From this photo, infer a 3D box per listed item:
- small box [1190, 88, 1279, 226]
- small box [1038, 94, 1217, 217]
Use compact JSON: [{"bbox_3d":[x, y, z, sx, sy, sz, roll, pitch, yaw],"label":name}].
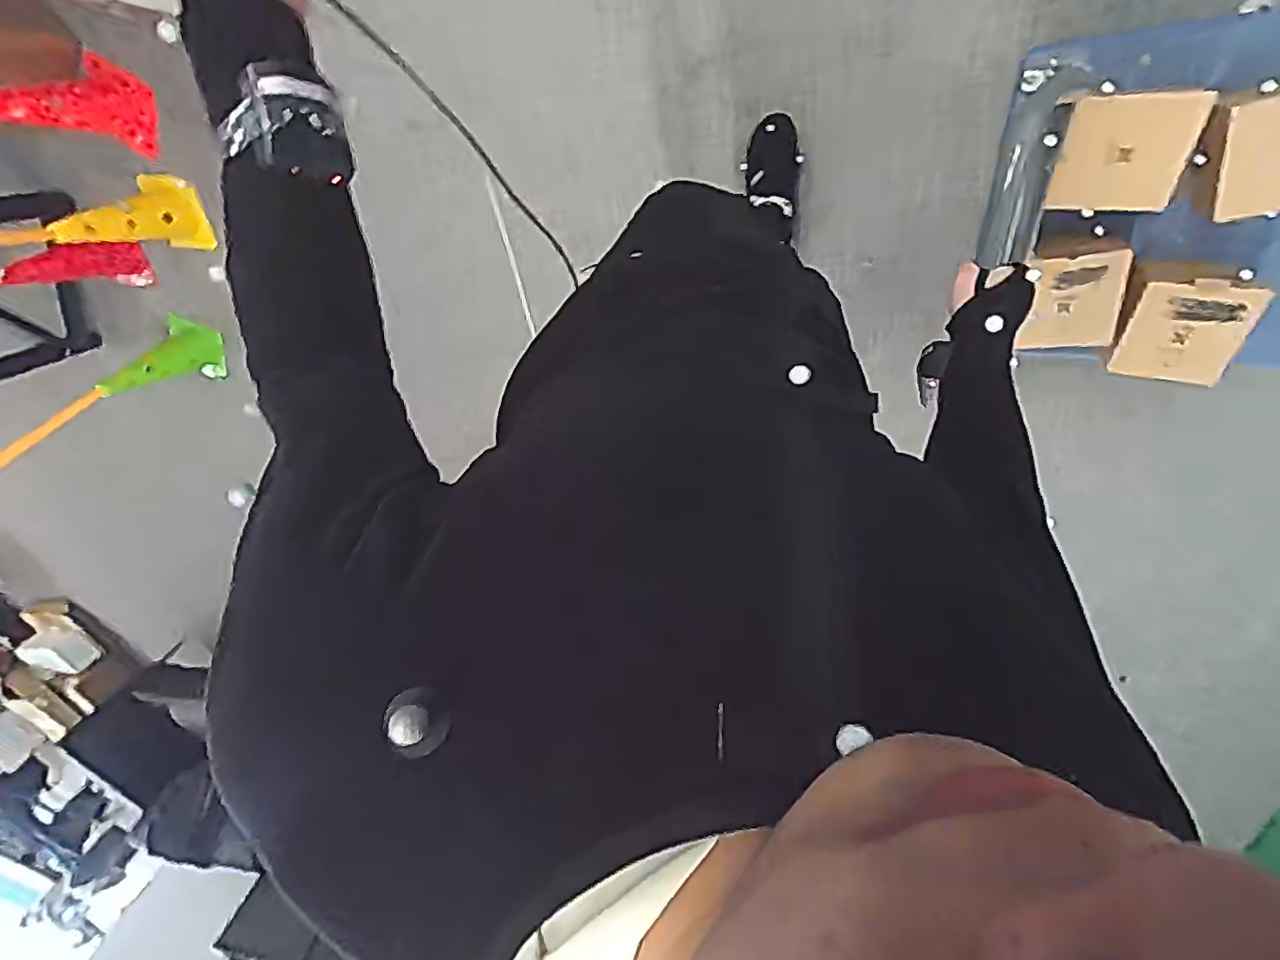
[{"bbox_3d":[1.018,-0.521,0.855,0.179,0.176,0.168,0,123,33],"label":"small box"},{"bbox_3d":[0.828,-0.569,0.944,0.179,0.176,0.168,15,130,24],"label":"small box"}]
